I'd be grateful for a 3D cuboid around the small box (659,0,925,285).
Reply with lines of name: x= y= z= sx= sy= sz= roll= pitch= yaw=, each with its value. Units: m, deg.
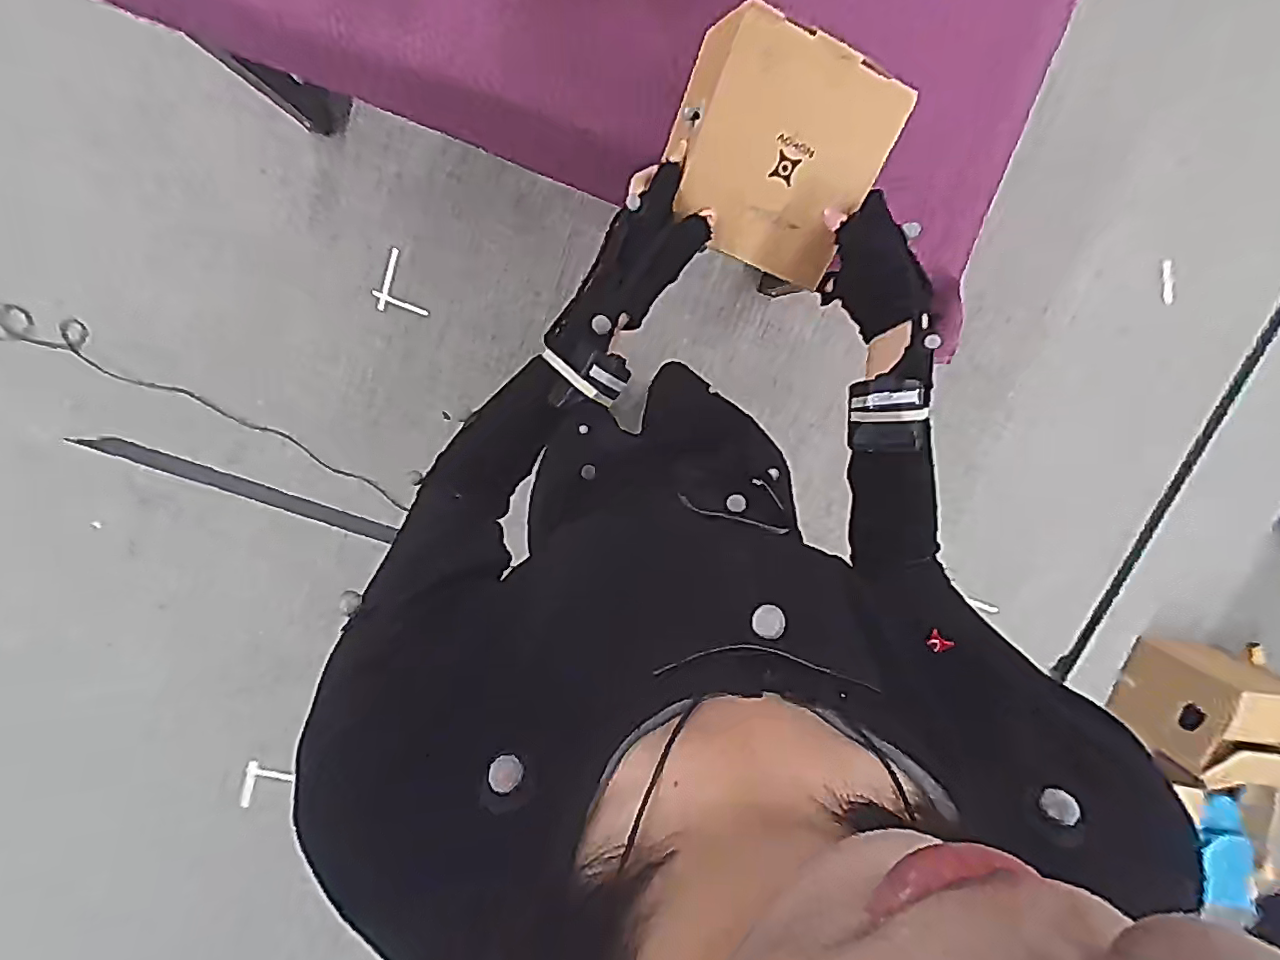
small box: x=0.127 y=-0.324 z=0.537 sx=0.168 sy=0.176 sz=0.179 roll=16 pitch=119 yaw=-15
